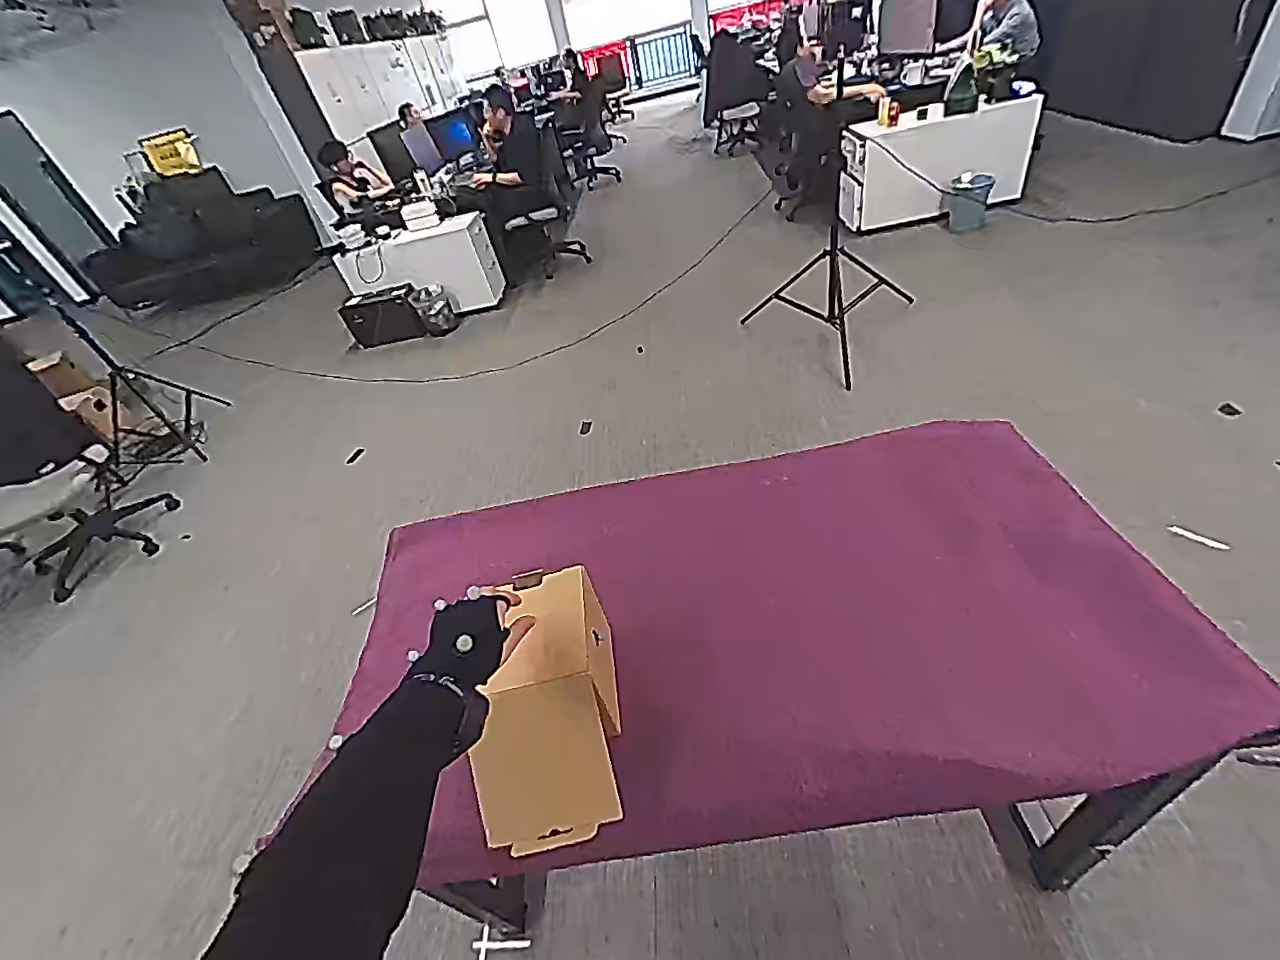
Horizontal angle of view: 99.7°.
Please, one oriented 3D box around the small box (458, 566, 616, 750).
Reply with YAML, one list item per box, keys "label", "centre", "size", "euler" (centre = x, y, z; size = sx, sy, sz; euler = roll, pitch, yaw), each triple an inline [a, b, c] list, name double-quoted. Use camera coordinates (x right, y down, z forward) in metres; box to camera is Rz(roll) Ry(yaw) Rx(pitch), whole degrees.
- label: "small box"
  centre: [-0.135, 0.256, 0.761]
  size: [0.168, 0.176, 0.179]
  euler: [-14, 38, 1]
